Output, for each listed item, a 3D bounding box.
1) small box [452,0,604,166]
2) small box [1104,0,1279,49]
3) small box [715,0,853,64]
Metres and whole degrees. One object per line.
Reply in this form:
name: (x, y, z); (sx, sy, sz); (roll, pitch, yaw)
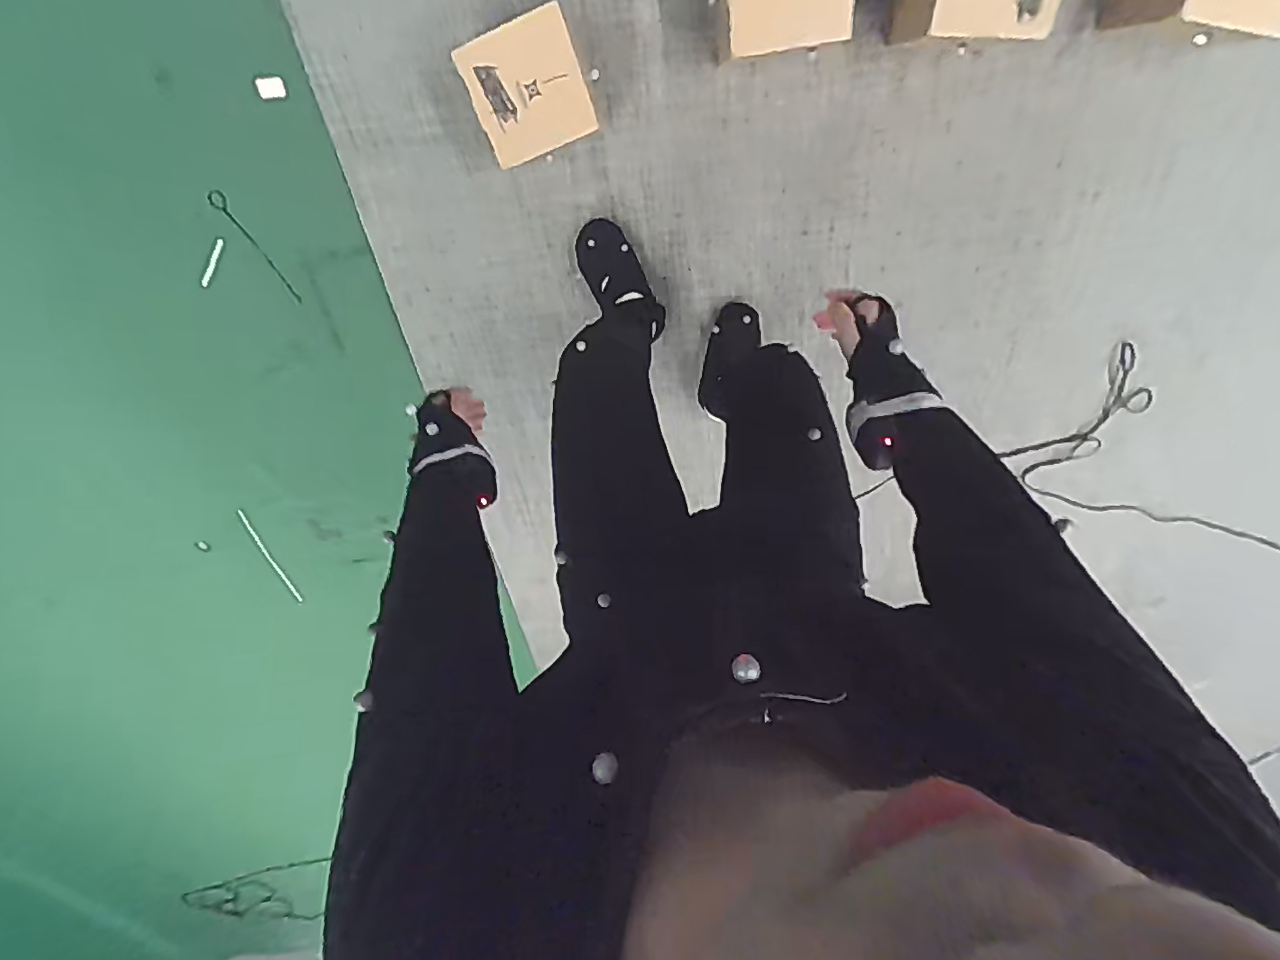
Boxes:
small box: (-0.169, -0.635, 0.882); (0.179, 0.176, 0.168); (-16, 122, 11)
small box: (0.848, -0.748, 0.786); (0.179, 0.176, 0.168); (7, 125, -5)
small box: (0.208, -0.737, 0.804); (0.179, 0.176, 0.168); (-5, 123, 5)
